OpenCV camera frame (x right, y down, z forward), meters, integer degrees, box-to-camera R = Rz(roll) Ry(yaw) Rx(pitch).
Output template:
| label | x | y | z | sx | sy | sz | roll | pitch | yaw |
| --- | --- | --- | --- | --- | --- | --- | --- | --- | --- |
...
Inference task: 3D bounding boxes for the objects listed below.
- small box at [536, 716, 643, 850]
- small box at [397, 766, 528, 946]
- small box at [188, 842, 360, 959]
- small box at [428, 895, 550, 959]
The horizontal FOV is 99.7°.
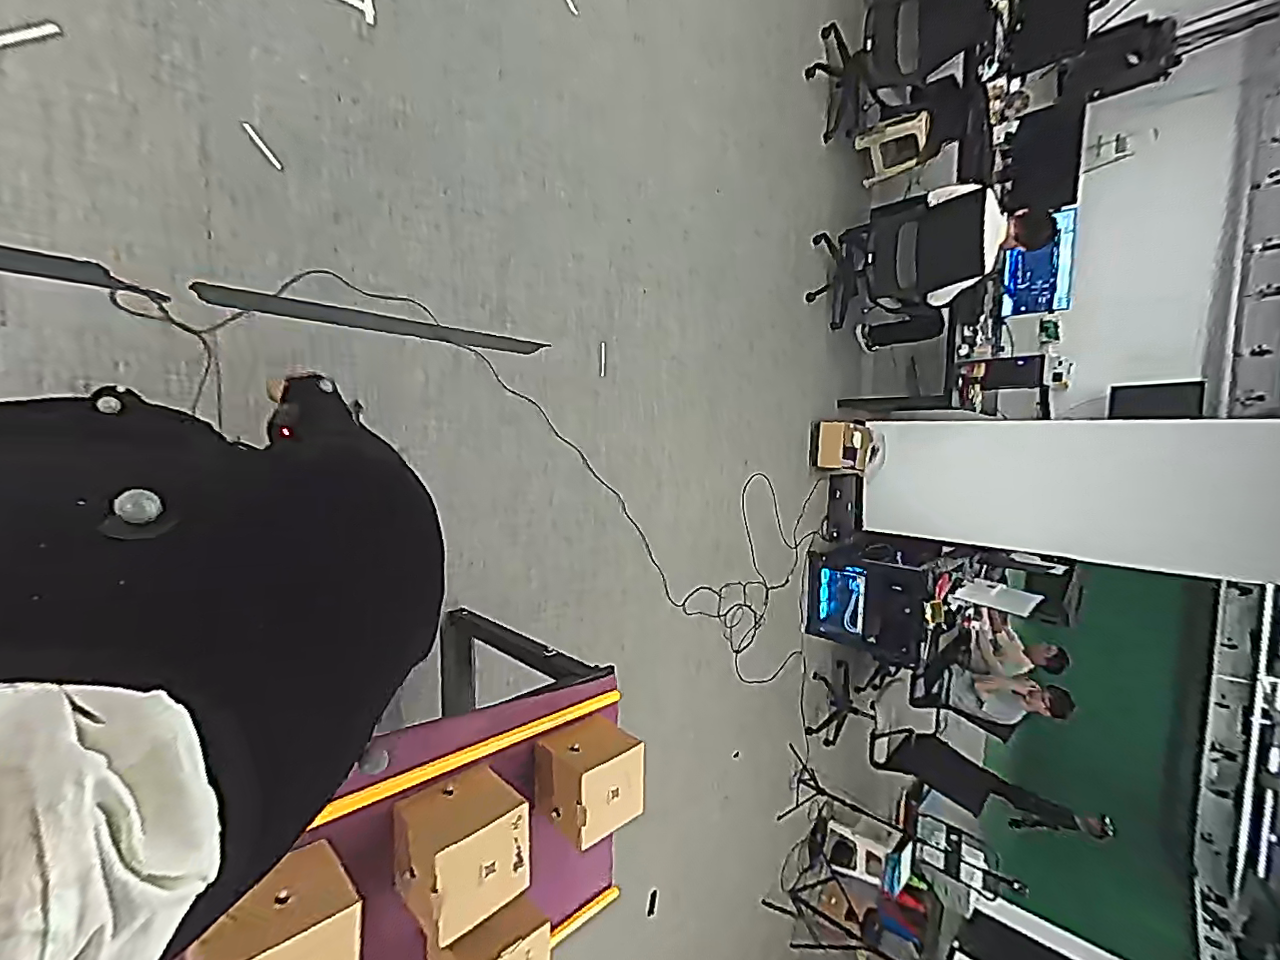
| label | x | y | z | sx | sy | sz | roll | pitch | yaw |
| --- | --- | --- | --- | --- | --- | --- | --- | --- | --- |
| small box | -0.113 | 0.645 | 1.176 | 0.179 | 0.176 | 0.168 | -3 | 97 | -43 |
| small box | -0.320 | 0.652 | 0.966 | 0.179 | 0.176 | 0.168 | -4 | 97 | -45 |
| small box | -0.519 | 0.665 | 0.761 | 0.179 | 0.176 | 0.168 | 0 | 95 | -47 |
| small box | -0.288 | 0.916 | 1.022 | 0.168 | 0.176 | 0.179 | -2 | 93 | -46 |
